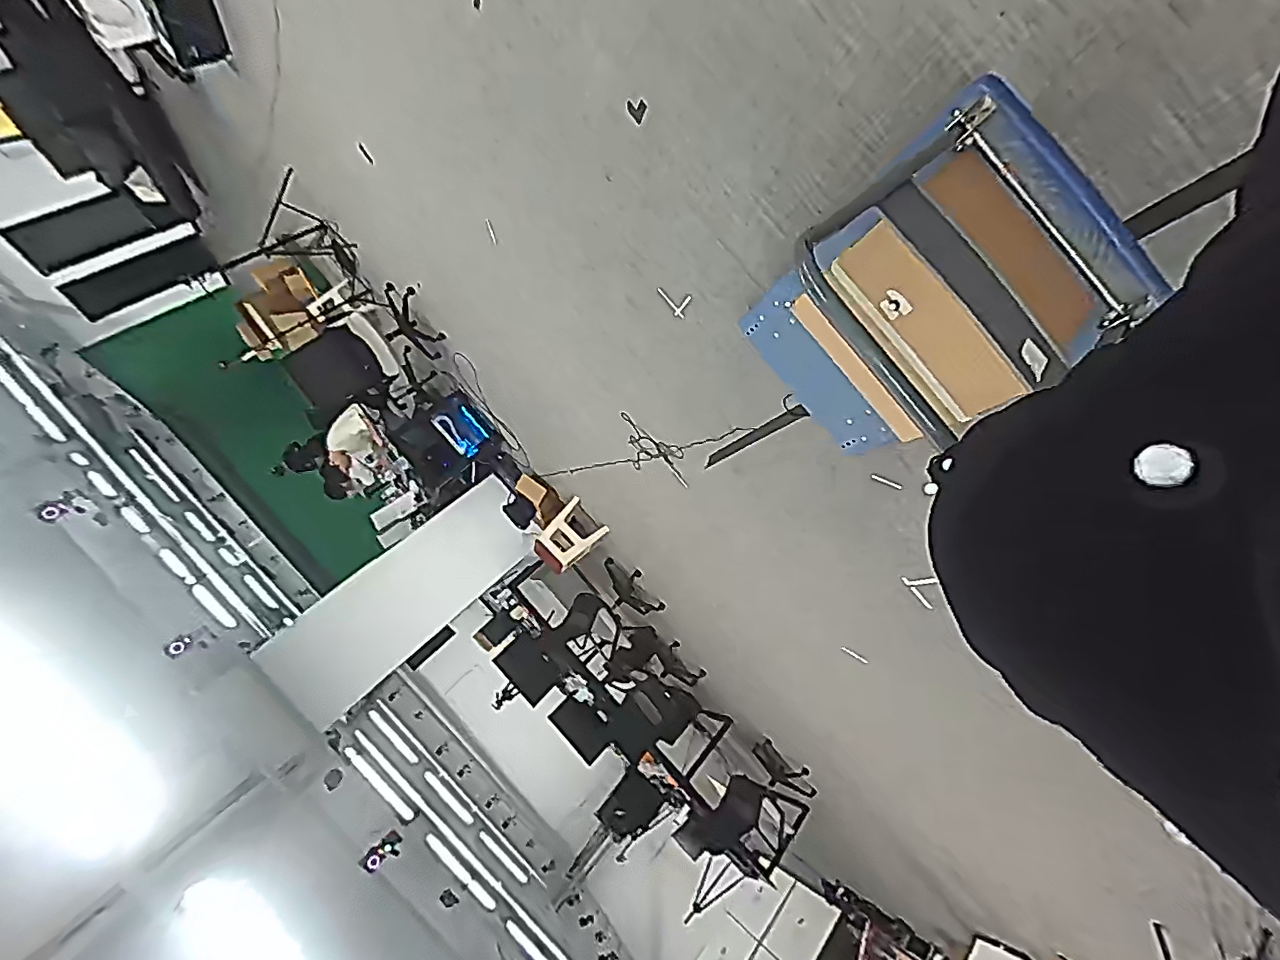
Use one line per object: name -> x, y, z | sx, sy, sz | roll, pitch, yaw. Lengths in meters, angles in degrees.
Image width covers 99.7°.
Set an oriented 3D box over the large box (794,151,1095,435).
large box -> 0.623, -0.374, 1.132 | 0.408, 0.320, 0.320 | 50, 154, -2
